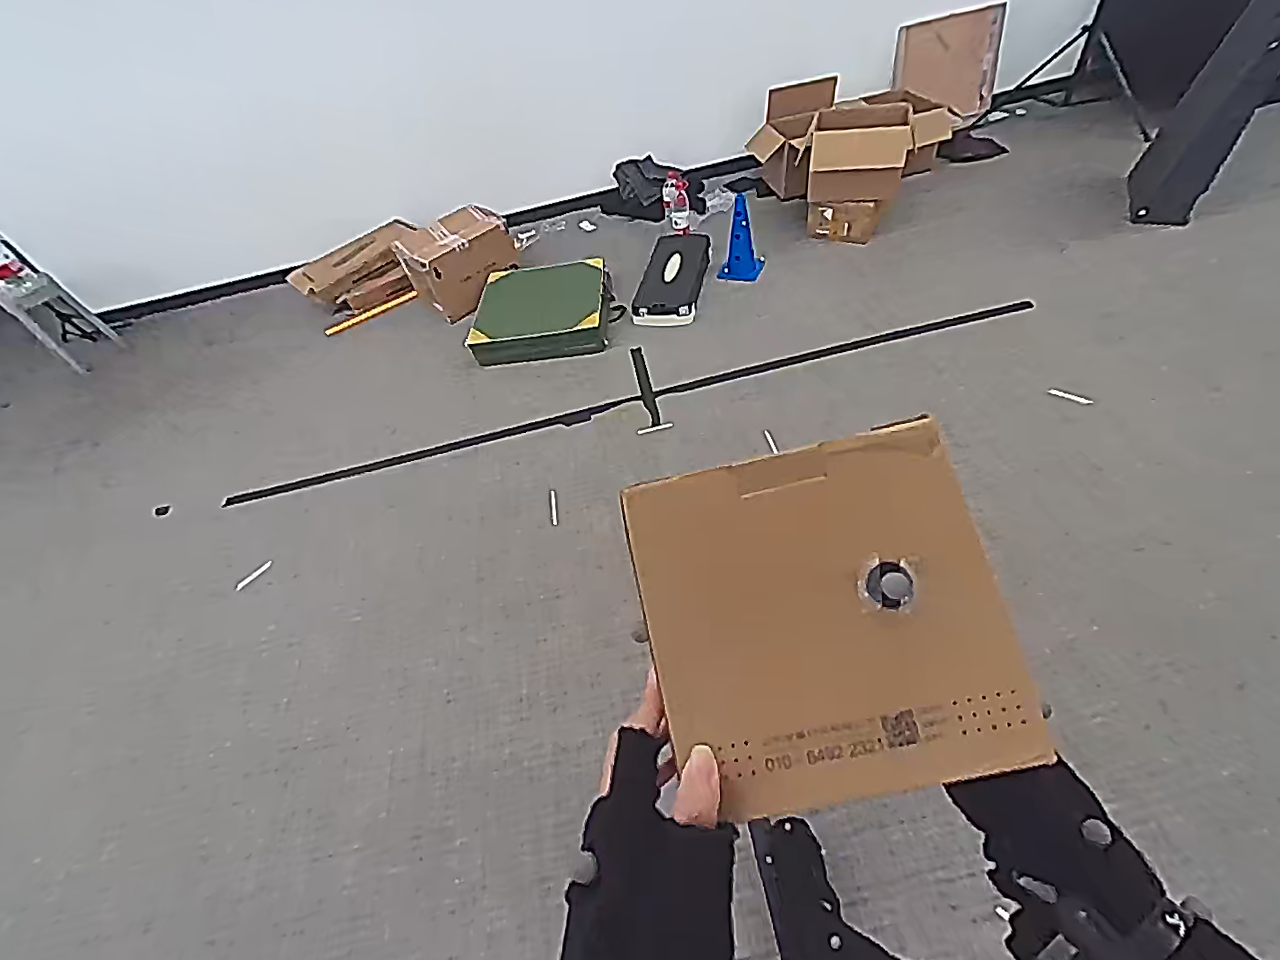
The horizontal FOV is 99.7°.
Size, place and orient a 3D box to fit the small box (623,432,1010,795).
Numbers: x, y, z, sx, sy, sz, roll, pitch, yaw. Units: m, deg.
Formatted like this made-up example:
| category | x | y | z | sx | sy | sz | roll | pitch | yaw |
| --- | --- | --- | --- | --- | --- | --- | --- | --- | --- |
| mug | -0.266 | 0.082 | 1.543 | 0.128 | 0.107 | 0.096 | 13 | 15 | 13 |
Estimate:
| category | x | y | z | sx | sy | sz | roll | pitch | yaw |
| --- | --- | --- | --- | --- | --- | --- | --- | --- | --- |
| small box | 0.099 | 0.088 | 0.358 | 0.168 | 0.179 | 0.176 | -14 | 77 | 7 |
